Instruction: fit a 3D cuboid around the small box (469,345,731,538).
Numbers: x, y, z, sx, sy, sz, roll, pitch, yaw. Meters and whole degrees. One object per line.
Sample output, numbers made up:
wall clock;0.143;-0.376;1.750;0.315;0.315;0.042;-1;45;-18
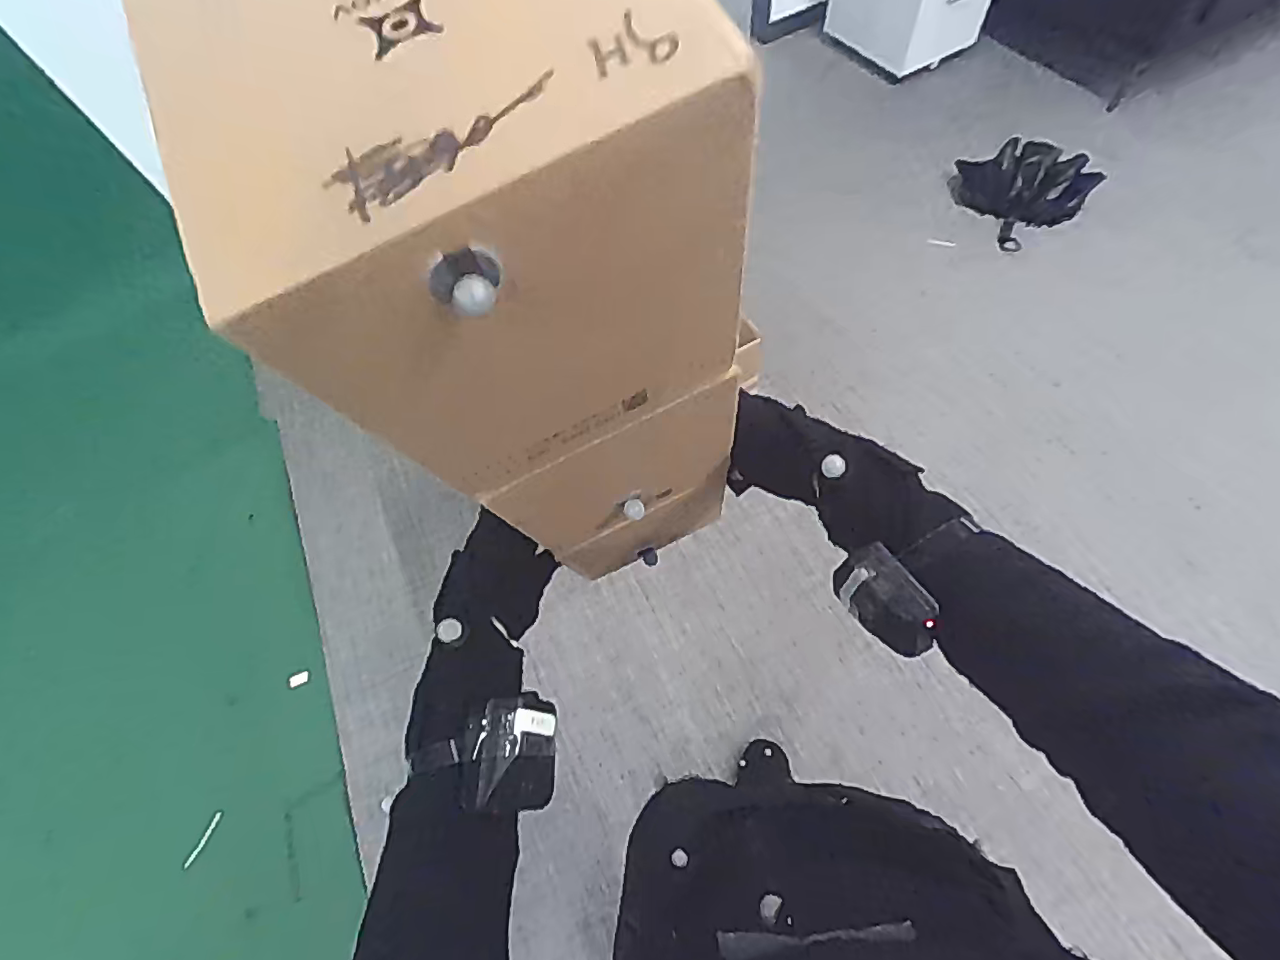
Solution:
small box;-0.046;-0.078;0.414;0.168;0.176;0.179;-27;71;-2

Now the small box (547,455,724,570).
small box;-0.027;-0.024;0.569;0.168;0.176;0.179;-28;72;-2

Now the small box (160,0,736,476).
small box;-0.070;-0.129;0.260;0.168;0.176;0.179;-27;70;-1
